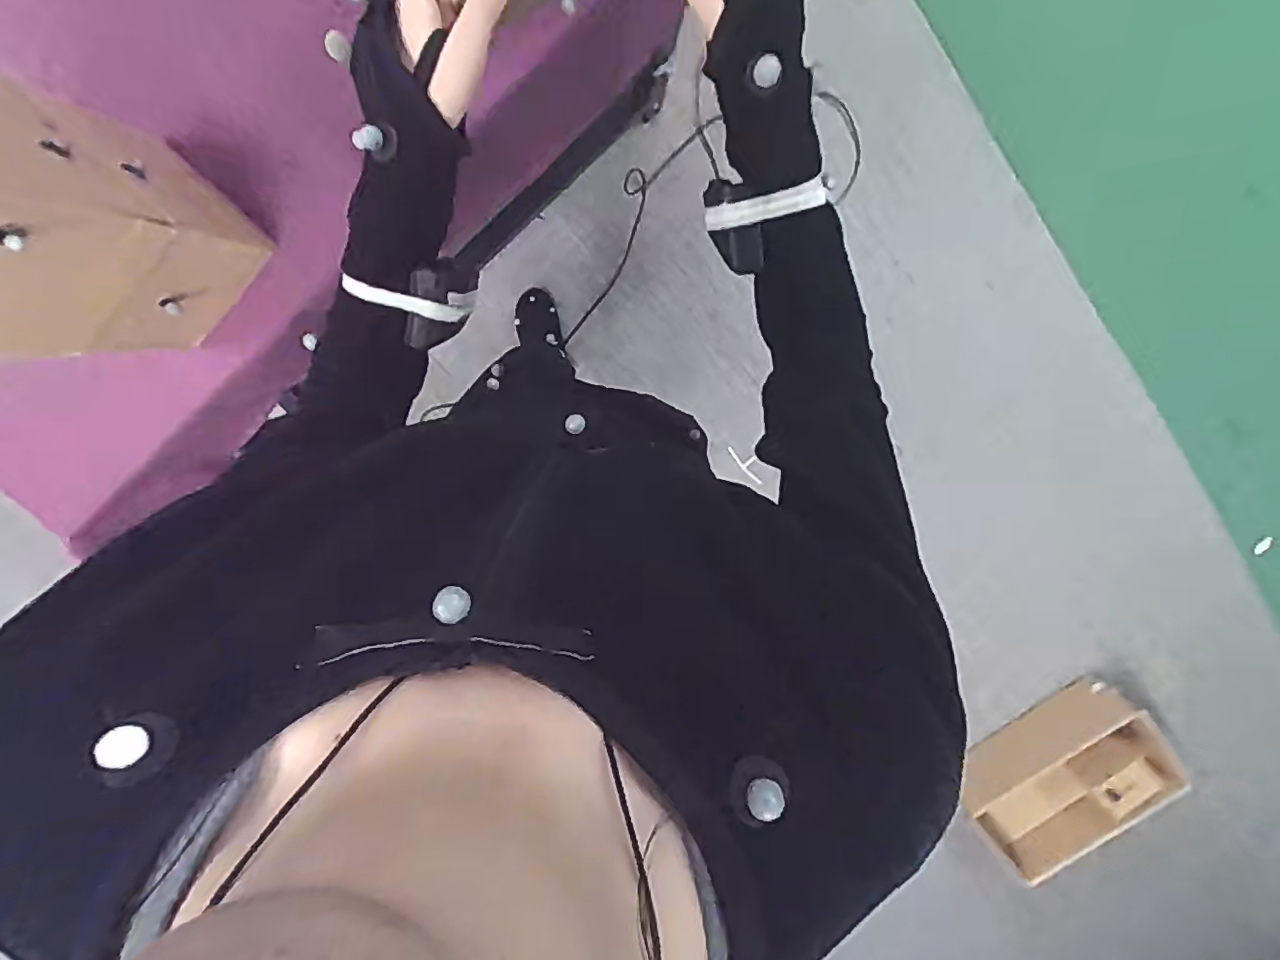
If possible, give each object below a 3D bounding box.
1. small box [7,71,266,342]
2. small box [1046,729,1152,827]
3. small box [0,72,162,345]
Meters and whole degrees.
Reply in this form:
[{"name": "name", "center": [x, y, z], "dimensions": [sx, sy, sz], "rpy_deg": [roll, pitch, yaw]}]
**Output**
[{"name": "small box", "center": [-0.558, -0.267, 0.580], "dimensions": [0.179, 0.176, 0.168], "rpy_deg": [-42, 103, 8]}, {"name": "small box", "center": [1.459, 0.950, 1.736], "dimensions": [0.179, 0.176, 0.168], "rpy_deg": [-43, 103, 5]}, {"name": "small box", "center": [-0.548, -0.221, 0.424], "dimensions": [0.179, 0.176, 0.168], "rpy_deg": [-43, 103, 7]}]
